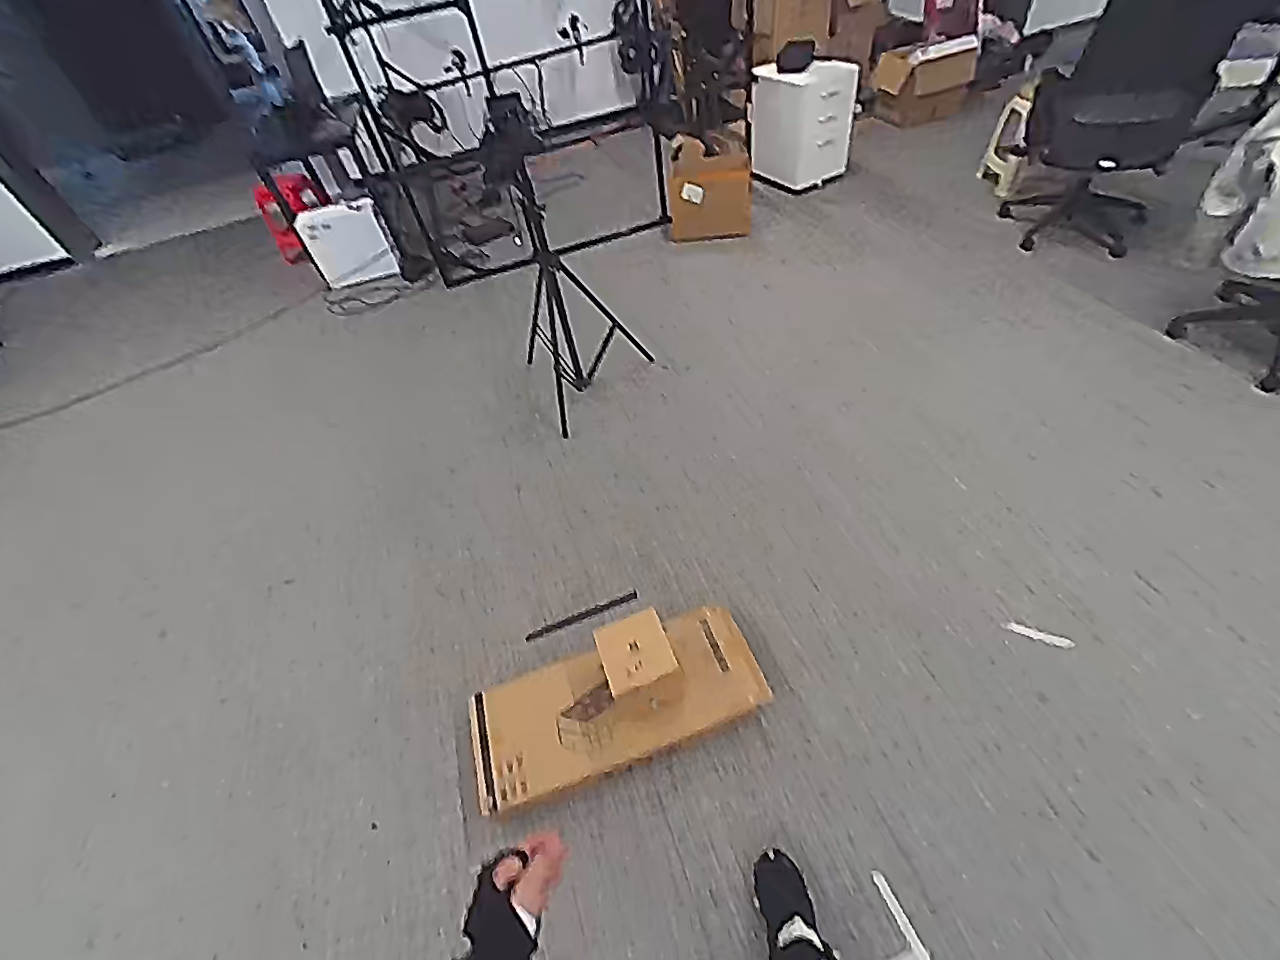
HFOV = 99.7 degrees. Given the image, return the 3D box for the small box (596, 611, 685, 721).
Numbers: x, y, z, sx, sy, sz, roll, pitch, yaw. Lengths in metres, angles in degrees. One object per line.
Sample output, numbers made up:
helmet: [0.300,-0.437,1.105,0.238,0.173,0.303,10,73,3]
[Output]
small box: [0.003,0.463,1.342,0.168,0.176,0.179,-20,47,-7]
